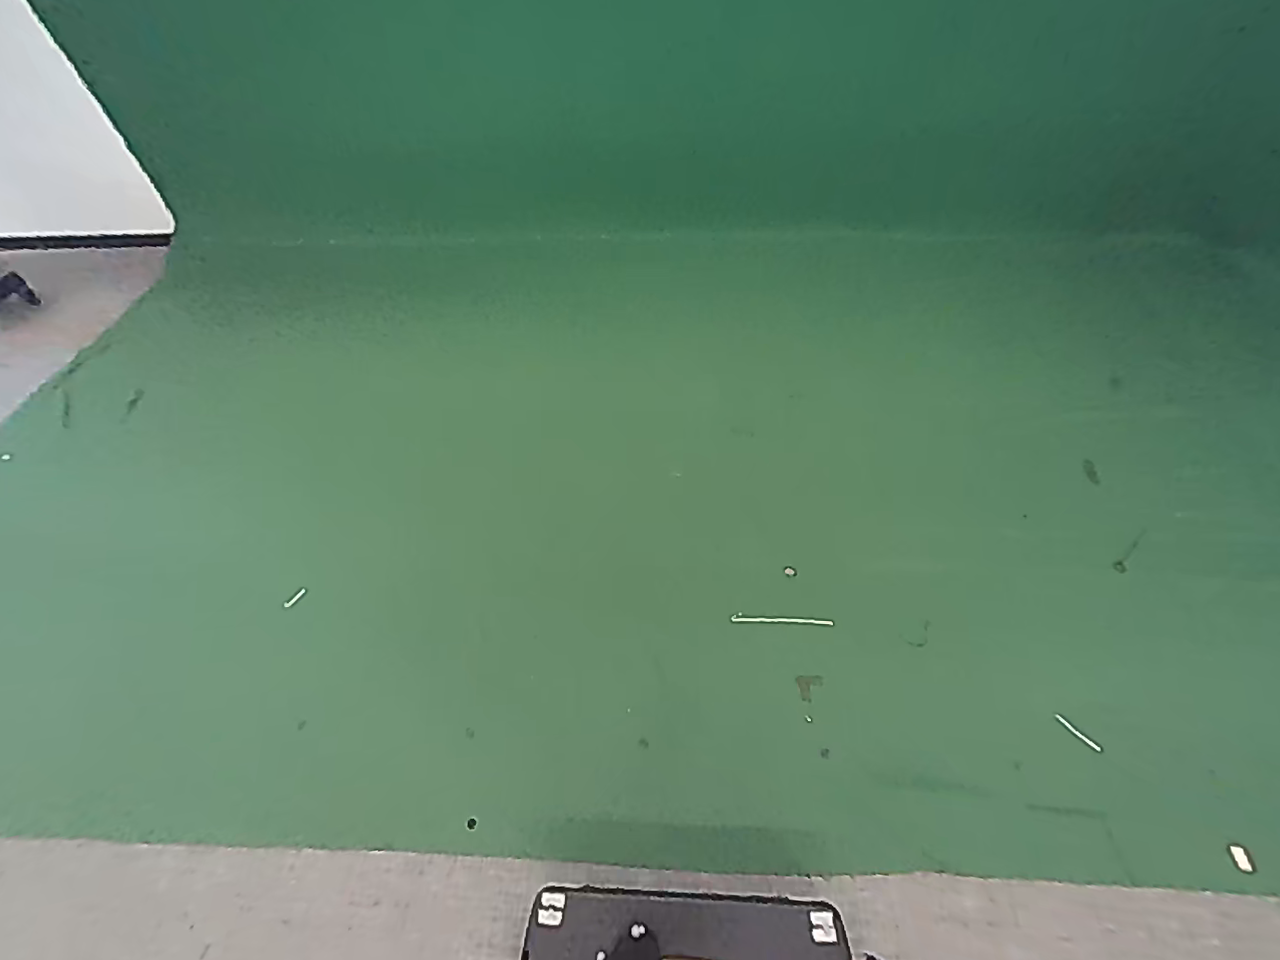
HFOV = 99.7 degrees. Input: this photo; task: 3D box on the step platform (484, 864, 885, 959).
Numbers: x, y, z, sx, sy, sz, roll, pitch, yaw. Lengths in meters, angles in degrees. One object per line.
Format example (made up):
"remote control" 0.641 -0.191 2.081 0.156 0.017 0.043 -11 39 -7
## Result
"step platform" 0.074 0.883 0.976 0.684 0.204 0.286 0 52 3
